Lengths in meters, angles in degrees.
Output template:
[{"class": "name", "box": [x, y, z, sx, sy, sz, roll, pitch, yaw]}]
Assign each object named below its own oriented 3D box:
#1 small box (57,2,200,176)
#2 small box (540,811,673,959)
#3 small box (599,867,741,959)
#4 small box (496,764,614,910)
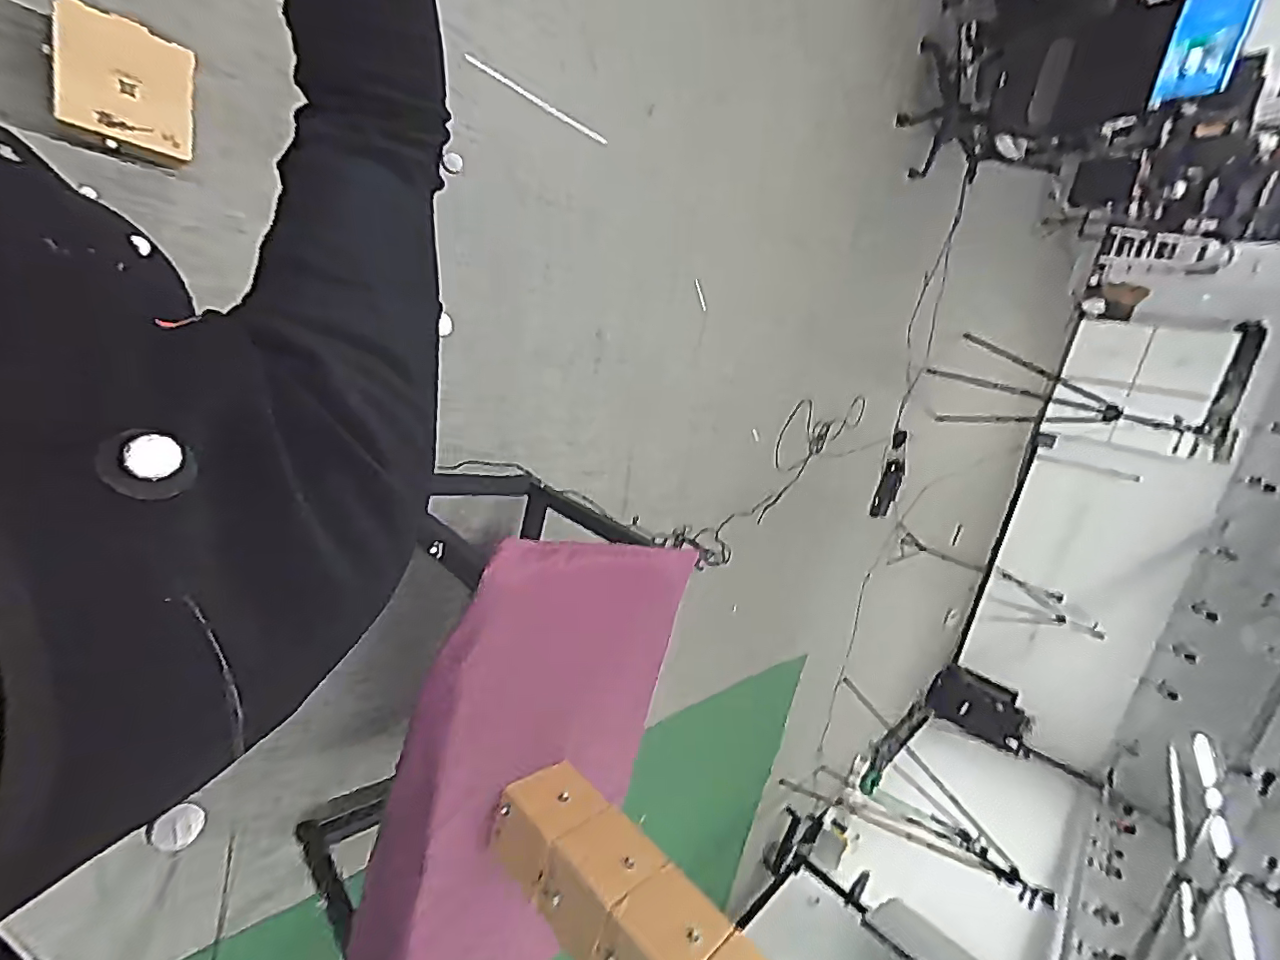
[{"class": "small box", "box": [-0.880, -0.652, 0.930, 0.168, 0.176, 0.179, 0, 106, -47]}, {"class": "small box", "box": [-0.068, 0.806, 1.074, 0.179, 0.176, 0.168, 4, 103, -47]}, {"class": "small box", "box": [0.049, 0.854, 0.970, 0.179, 0.176, 0.168, 4, 103, -47]}, {"class": "small box", "box": [-0.189, 0.761, 1.176, 0.179, 0.176, 0.168, 4, 104, -48]}]
